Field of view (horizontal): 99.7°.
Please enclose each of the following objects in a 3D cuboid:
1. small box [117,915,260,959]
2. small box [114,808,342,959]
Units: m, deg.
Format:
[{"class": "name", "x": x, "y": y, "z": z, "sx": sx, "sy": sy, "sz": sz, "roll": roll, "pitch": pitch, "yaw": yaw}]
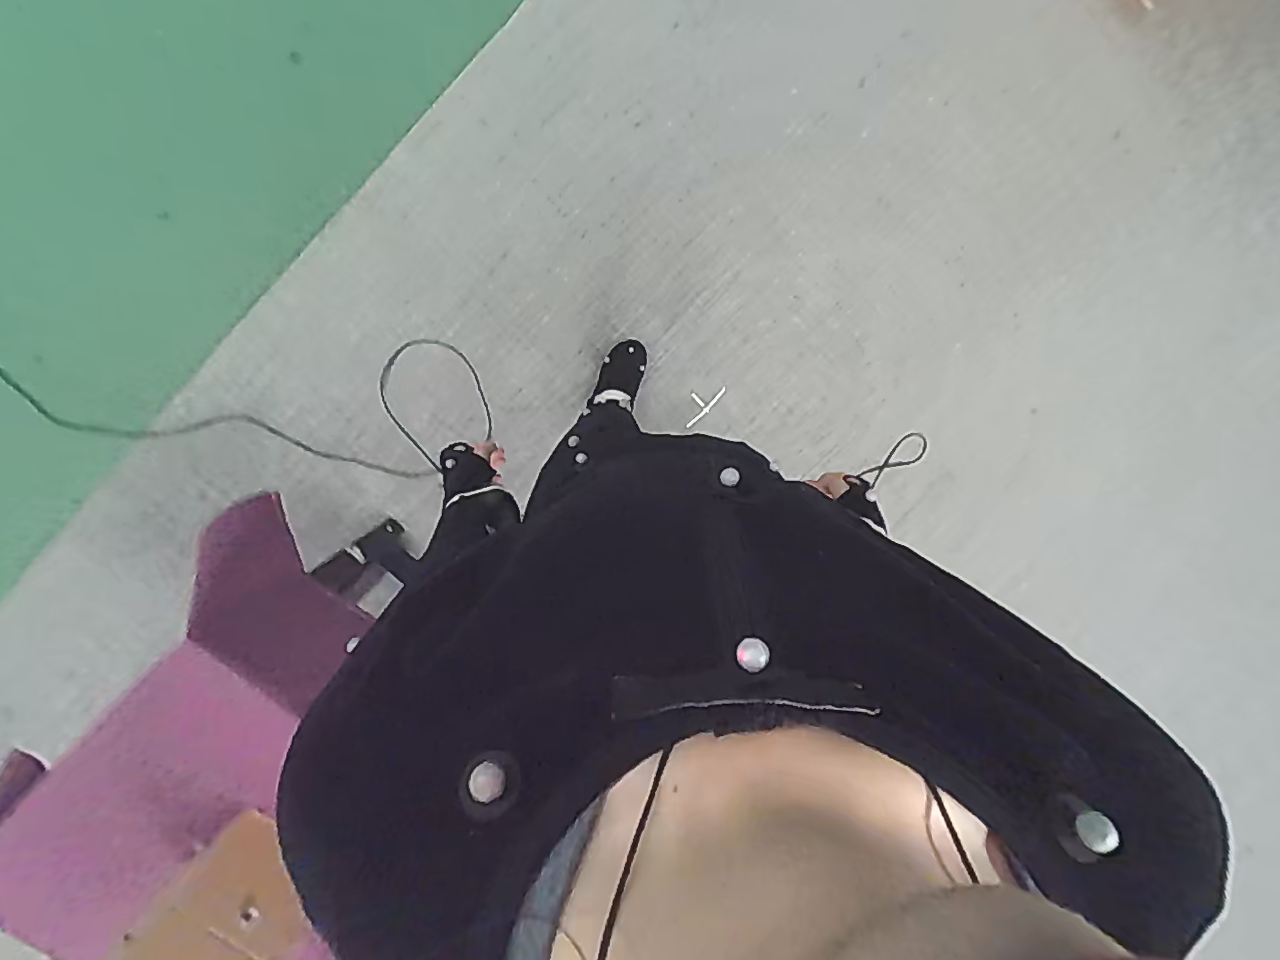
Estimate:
[{"class": "small box", "x": -0.577, "y": 0.658, "z": 0.622, "sx": 0.168, "sy": 0.176, "sz": 0.179, "roll": -43, "pitch": 101, "yaw": 6}, {"class": "small box", "x": -0.582, "y": 0.629, "z": 0.783, "sx": 0.168, "sy": 0.176, "sz": 0.179, "roll": -43, "pitch": 99, "yaw": 6}]
